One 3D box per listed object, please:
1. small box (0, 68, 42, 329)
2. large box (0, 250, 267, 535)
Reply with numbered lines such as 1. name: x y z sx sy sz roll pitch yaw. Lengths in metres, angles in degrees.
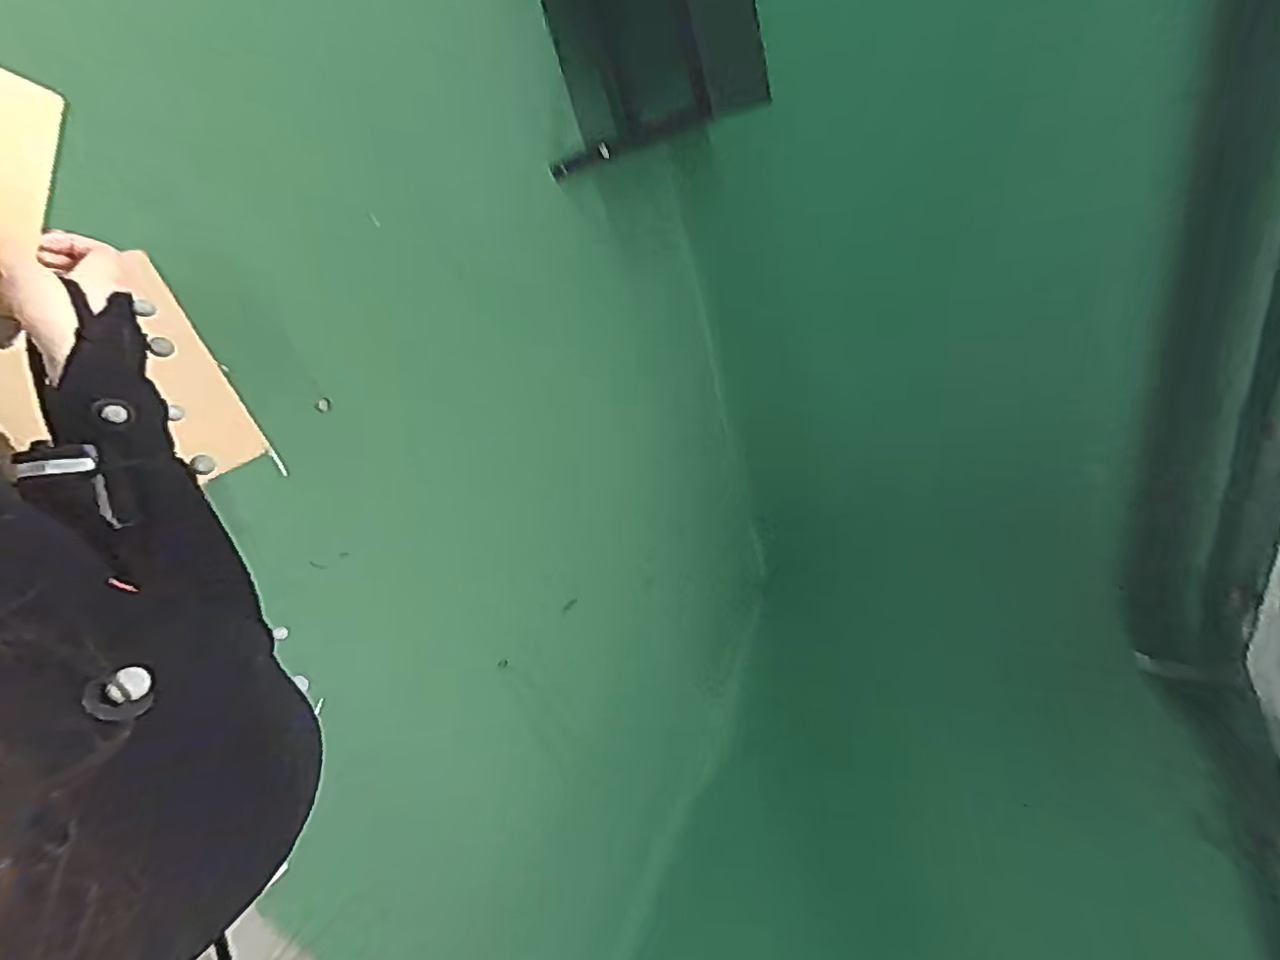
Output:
1. small box: -0.550 -0.208 0.367 0.168 0.176 0.179 8 87 -52
2. large box: -1.015 -0.156 0.994 0.320 0.320 0.408 -46 128 -45
